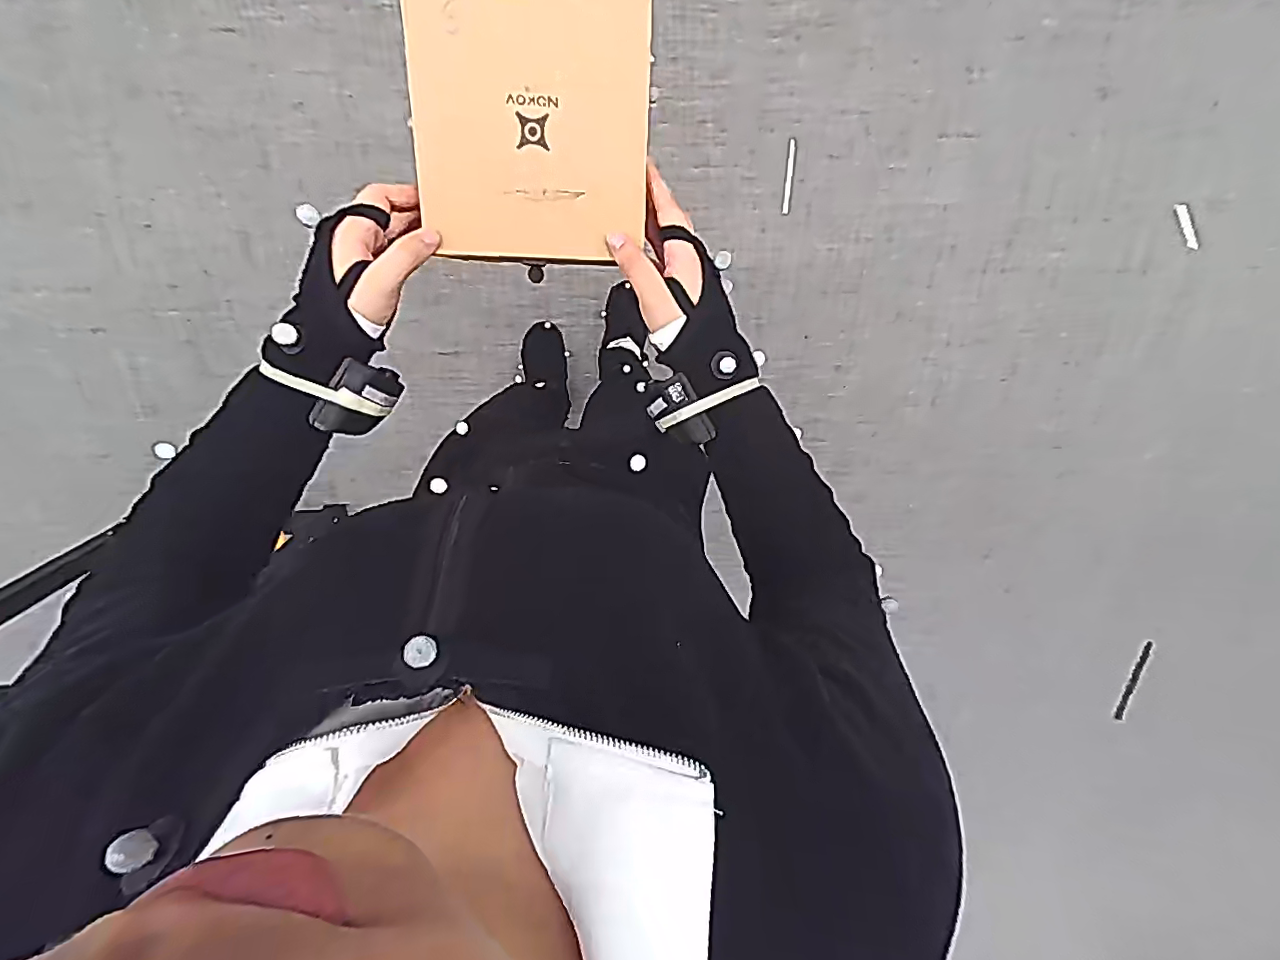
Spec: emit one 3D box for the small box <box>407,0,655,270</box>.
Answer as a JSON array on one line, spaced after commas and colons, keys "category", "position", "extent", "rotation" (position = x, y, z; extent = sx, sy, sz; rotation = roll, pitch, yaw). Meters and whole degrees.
[{"category": "small box", "position": [-0.082, -0.276, 0.455], "extent": [0.168, 0.176, 0.179], "rotation": [0, 110, -5]}]
